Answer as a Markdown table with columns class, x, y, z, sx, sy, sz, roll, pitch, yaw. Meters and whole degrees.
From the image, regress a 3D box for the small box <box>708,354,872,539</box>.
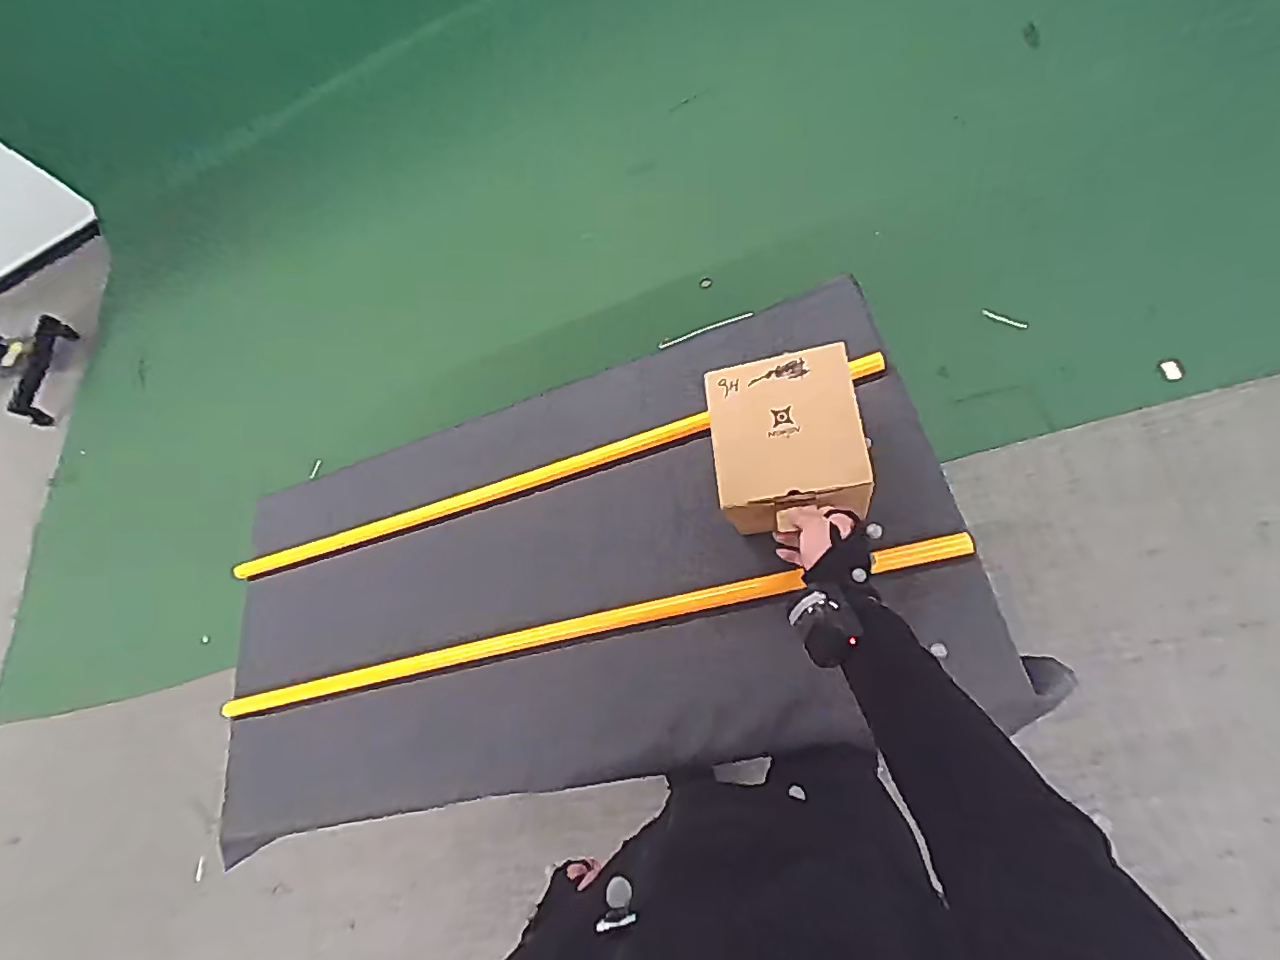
| class | x | y | z | sx | sy | sz | roll | pitch | yaw |
| --- | --- | --- | --- | --- | --- | --- | --- | --- | --- |
| small box | 0.196 | -0.028 | 0.694 | 0.168 | 0.176 | 0.179 | -12 | 68 | 18 |
